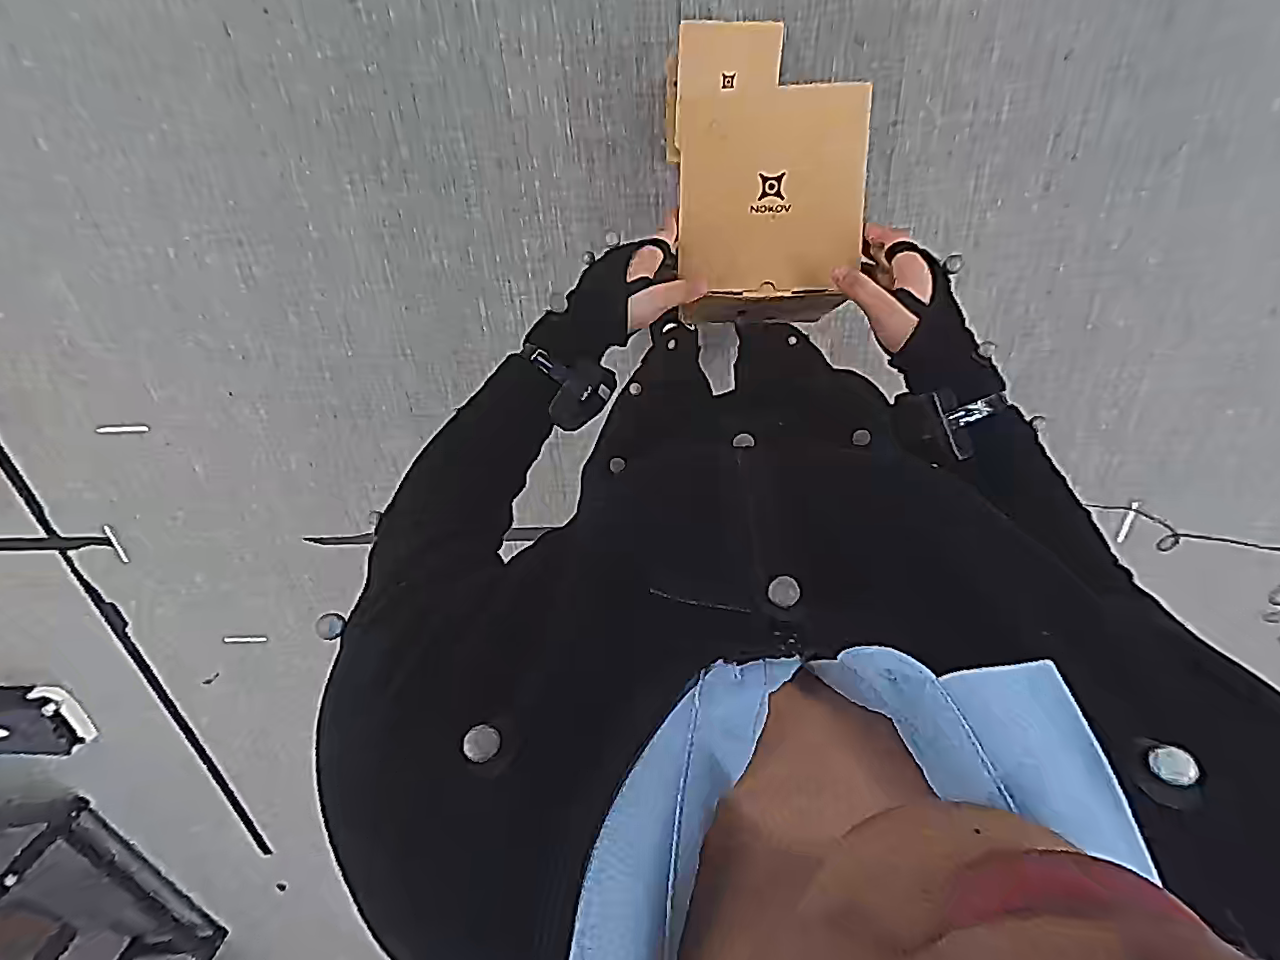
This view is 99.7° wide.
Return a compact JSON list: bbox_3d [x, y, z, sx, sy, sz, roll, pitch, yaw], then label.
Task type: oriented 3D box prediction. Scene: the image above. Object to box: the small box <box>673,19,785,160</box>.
[{"bbox_3d":[0.145,-0.674,0.950,0.168,0.176,0.179,3,118,2],"label":"small box"}]
